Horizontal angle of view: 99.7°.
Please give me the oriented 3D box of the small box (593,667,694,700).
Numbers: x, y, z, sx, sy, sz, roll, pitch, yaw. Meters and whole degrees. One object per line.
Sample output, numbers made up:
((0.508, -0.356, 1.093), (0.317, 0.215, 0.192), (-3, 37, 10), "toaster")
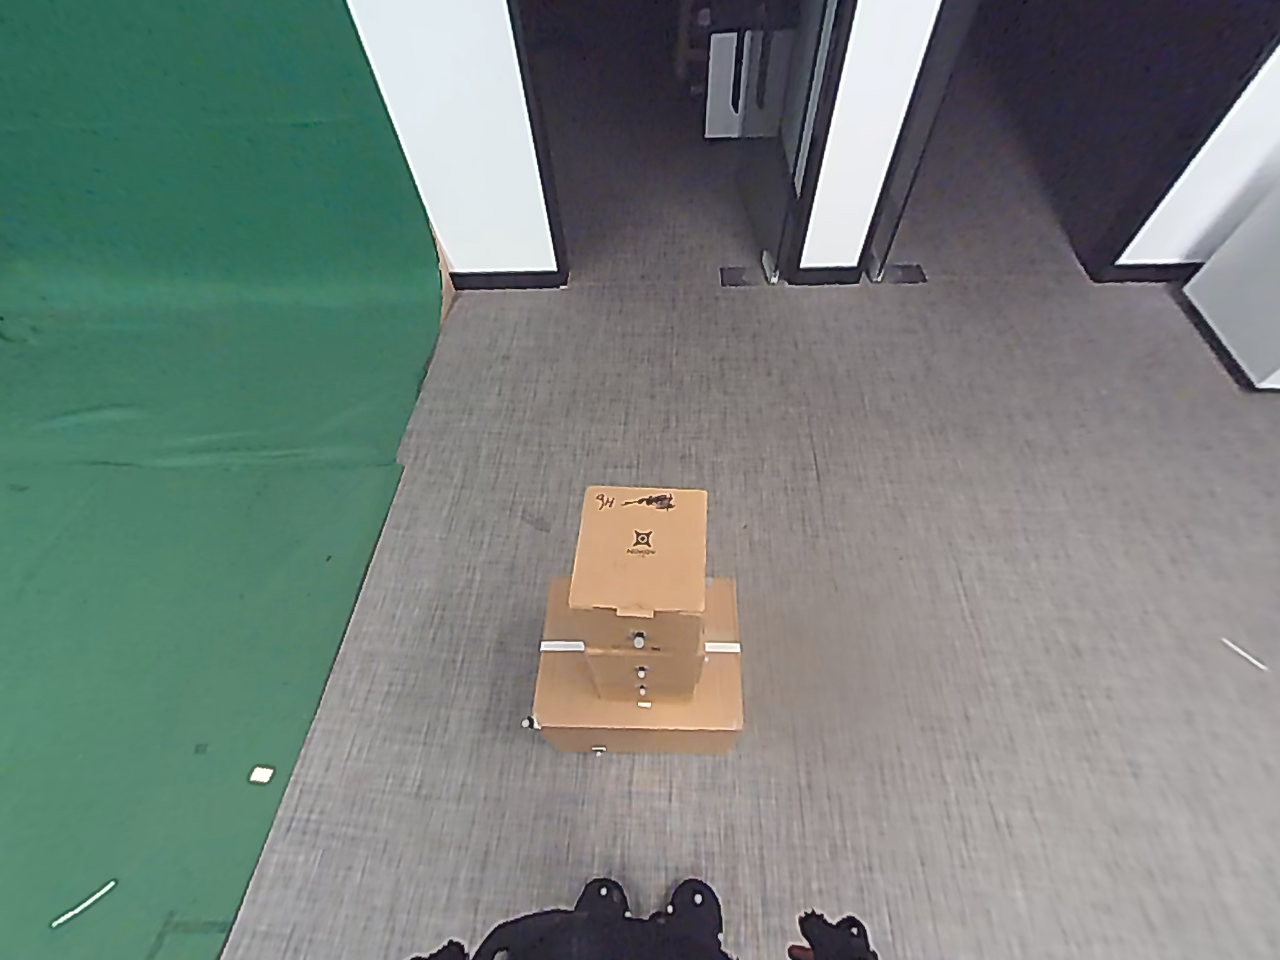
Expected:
((0.013, 0.312, 1.023), (0.179, 0.176, 0.168), (2, 57, 3), "small box")

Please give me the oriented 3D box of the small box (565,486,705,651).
((0.004, 0.128, 0.752), (0.168, 0.176, 0.179), (3, 57, 6), "small box")

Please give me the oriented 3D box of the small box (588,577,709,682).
((0.013, 0.226, 0.883), (0.179, 0.176, 0.168), (-2, 57, 1), "small box")
